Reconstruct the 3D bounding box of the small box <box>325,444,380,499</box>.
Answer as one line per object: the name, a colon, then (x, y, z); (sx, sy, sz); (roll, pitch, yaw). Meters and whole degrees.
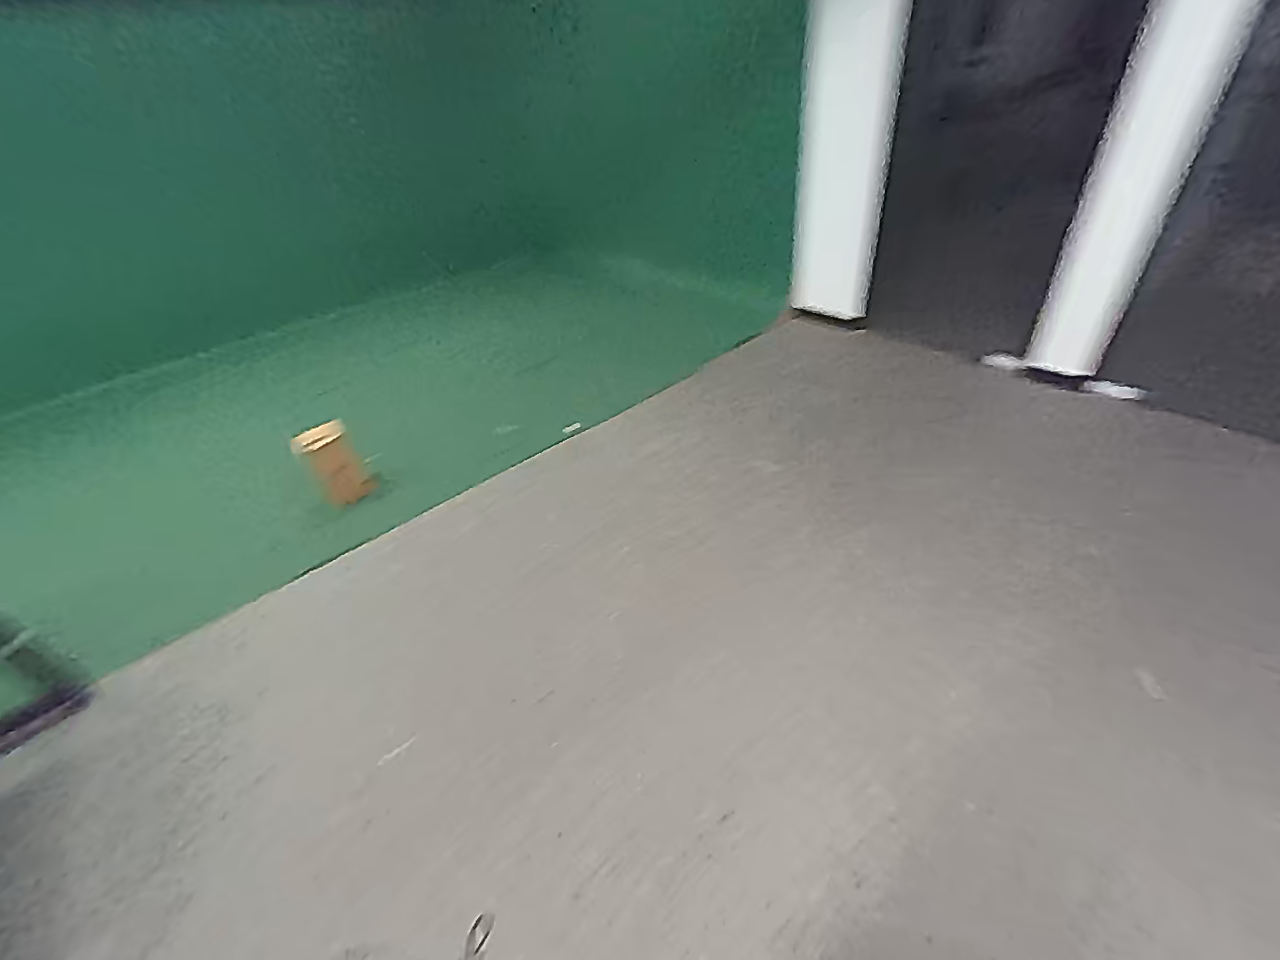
small box: (-1.375, -0.041, 2.598); (0.179, 0.176, 0.168); (-27, 43, -23)
